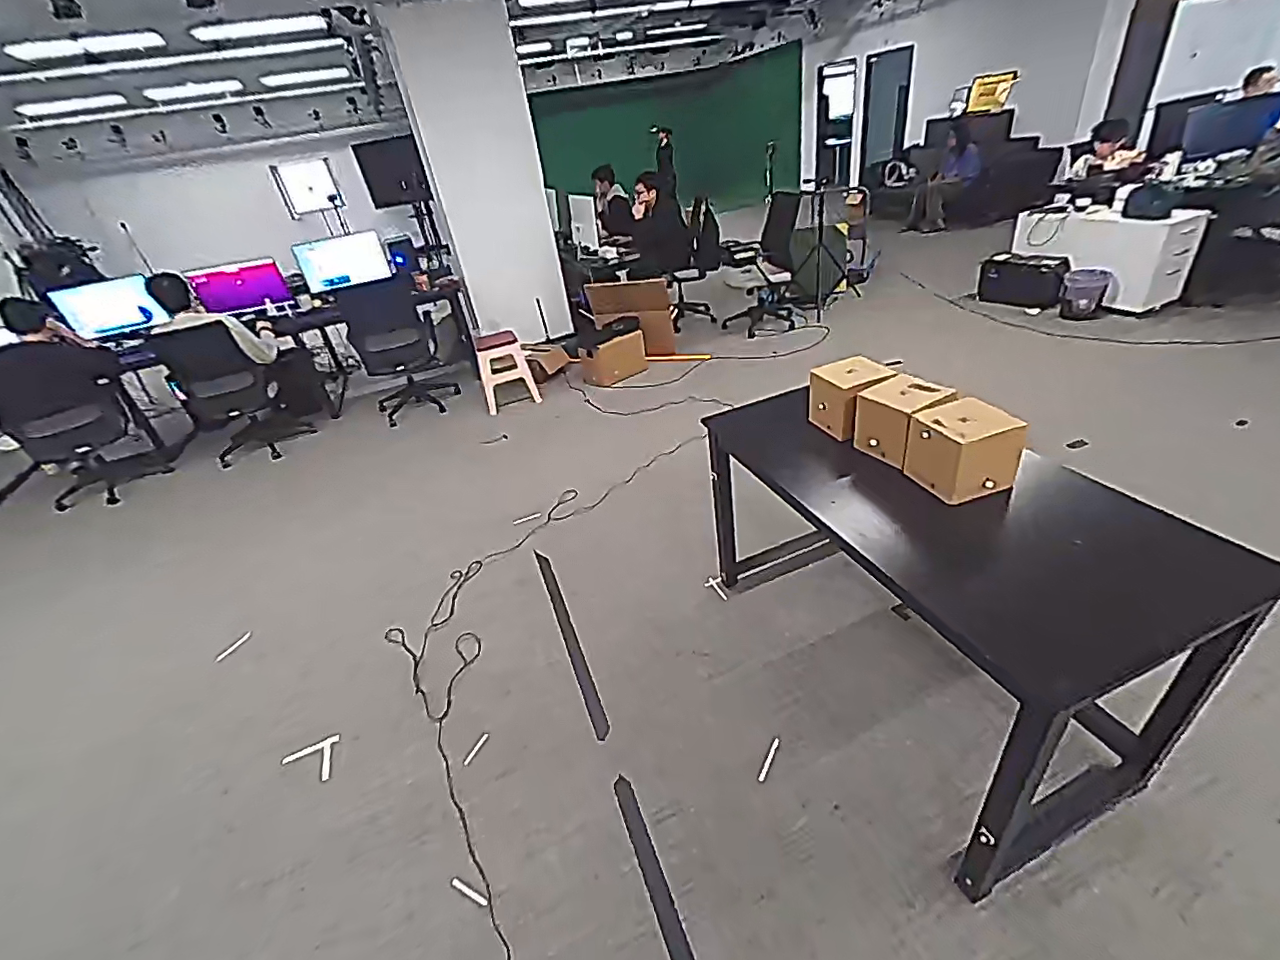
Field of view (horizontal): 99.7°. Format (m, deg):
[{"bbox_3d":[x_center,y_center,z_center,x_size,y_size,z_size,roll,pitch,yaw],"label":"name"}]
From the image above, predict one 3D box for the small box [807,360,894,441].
[{"bbox_3d":[0.612,-0.232,1.585,0.179,0.176,0.168,-17,33,-11],"label":"small box"}]
